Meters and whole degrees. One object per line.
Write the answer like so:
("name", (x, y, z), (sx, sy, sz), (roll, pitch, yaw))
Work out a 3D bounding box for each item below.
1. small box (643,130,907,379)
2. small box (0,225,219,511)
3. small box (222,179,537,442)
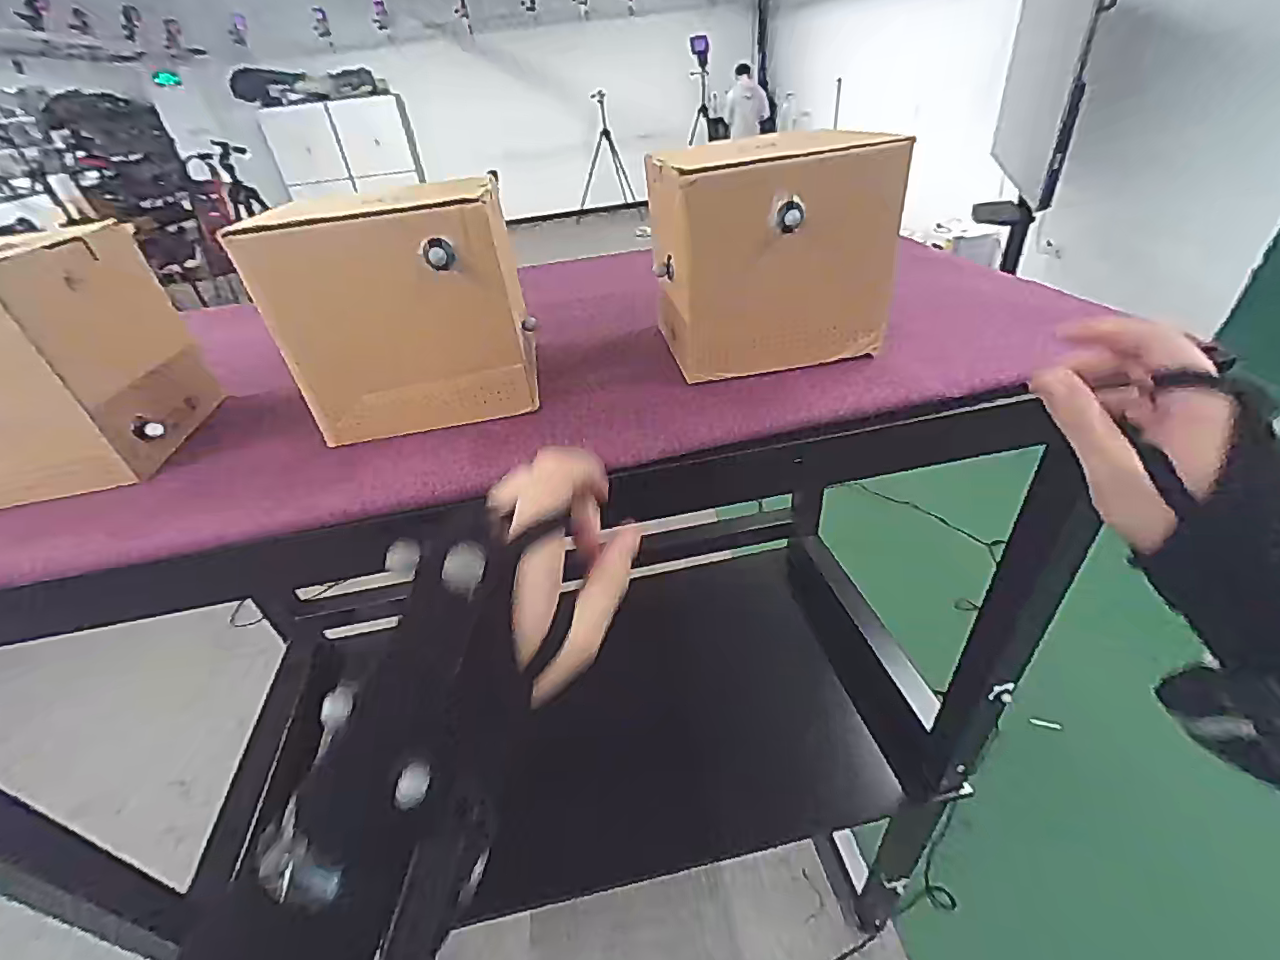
("small box", (0.107, -0.204, 0.488), (0.179, 0.176, 0.168), (-9, 36, -2))
("small box", (-0.496, -0.087, 0.433), (0.179, 0.176, 0.168), (-13, 36, -6))
("small box", (-0.194, -0.149, 0.469), (0.179, 0.176, 0.168), (-11, 35, -5))
